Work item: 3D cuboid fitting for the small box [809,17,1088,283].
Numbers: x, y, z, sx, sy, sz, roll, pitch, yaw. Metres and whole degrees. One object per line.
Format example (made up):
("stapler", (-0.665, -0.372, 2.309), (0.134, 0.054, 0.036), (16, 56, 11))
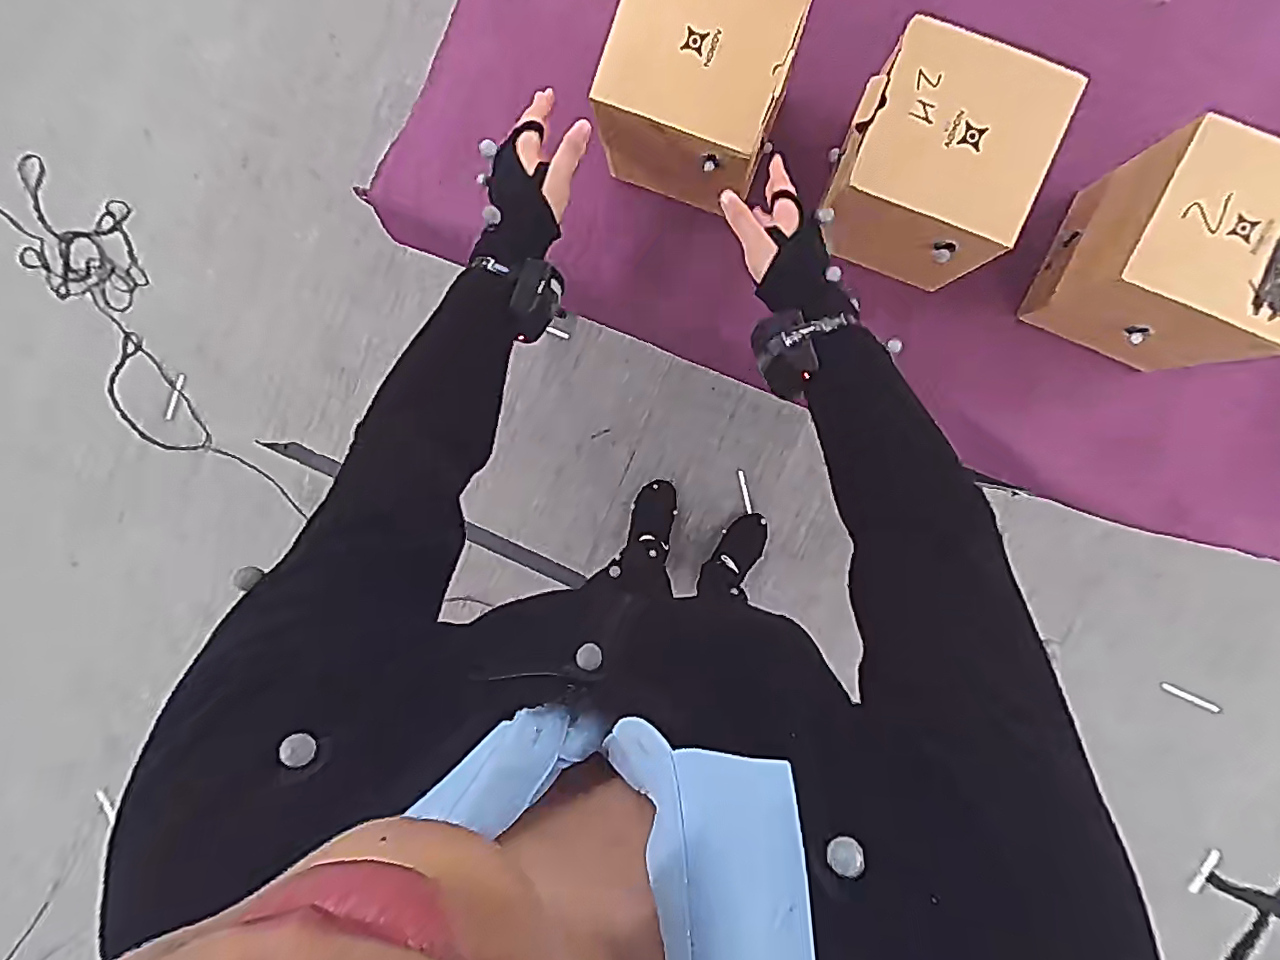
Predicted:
("small box", (0.313, -0.336, 0.592), (0.179, 0.176, 0.168), (22, 96, 1))

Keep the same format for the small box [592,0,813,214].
("small box", (0.064, -0.429, 0.604), (0.179, 0.176, 0.168), (20, 96, 1))
